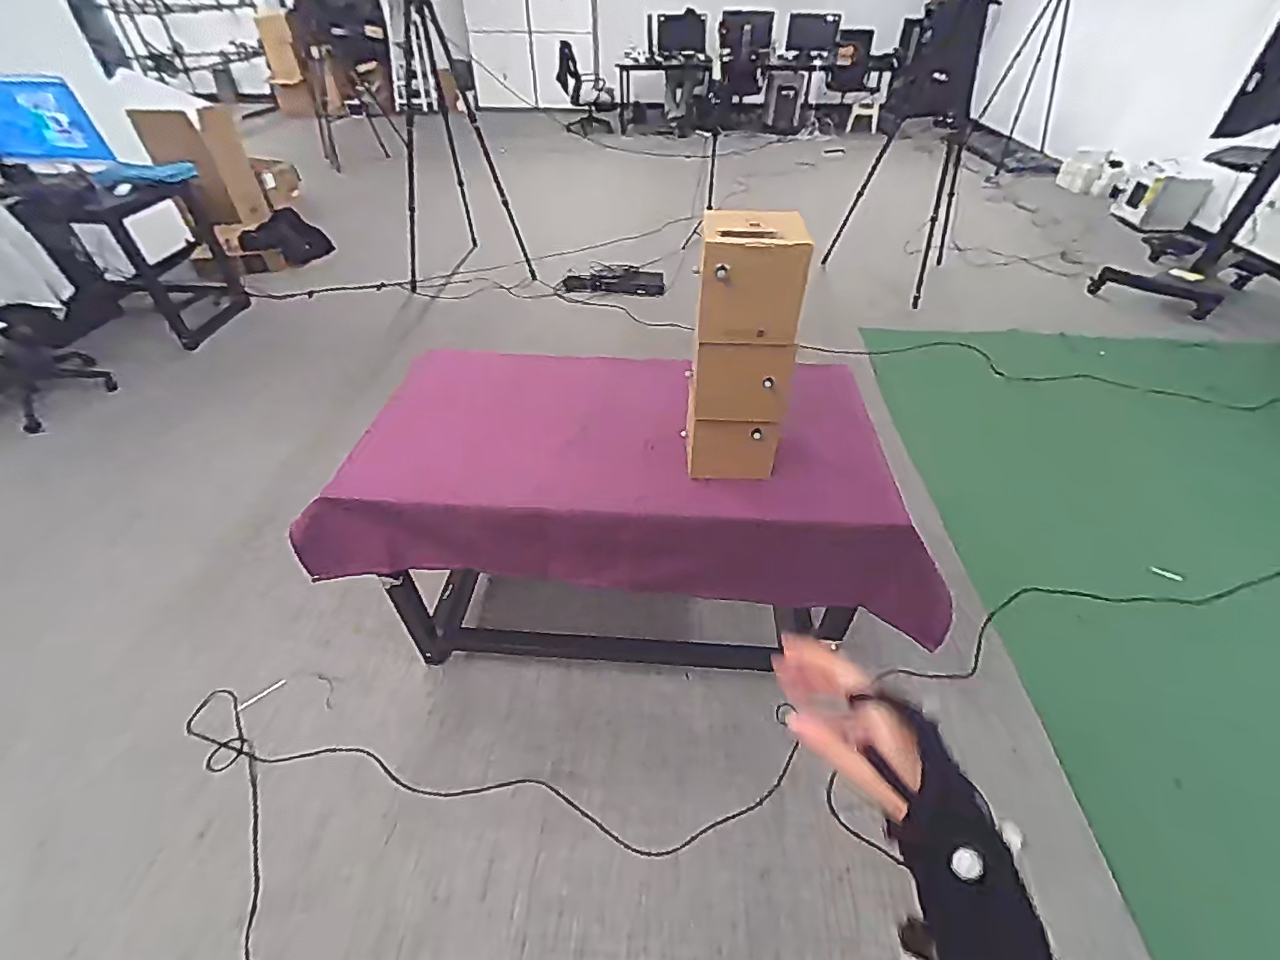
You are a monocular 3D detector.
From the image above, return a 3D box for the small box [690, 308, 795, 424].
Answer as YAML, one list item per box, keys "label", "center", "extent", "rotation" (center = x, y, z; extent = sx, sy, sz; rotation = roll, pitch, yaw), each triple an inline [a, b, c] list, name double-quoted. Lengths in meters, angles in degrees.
- label: "small box"
  center: [0.192, -0.222, 1.060]
  extent: [0.179, 0.176, 0.168]
  rotation: [2, 41, 3]

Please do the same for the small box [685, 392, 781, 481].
- label: "small box"
  center: [0.194, -0.111, 1.181]
  extent: [0.179, 0.176, 0.168]
  rotation: [1, 41, 1]
